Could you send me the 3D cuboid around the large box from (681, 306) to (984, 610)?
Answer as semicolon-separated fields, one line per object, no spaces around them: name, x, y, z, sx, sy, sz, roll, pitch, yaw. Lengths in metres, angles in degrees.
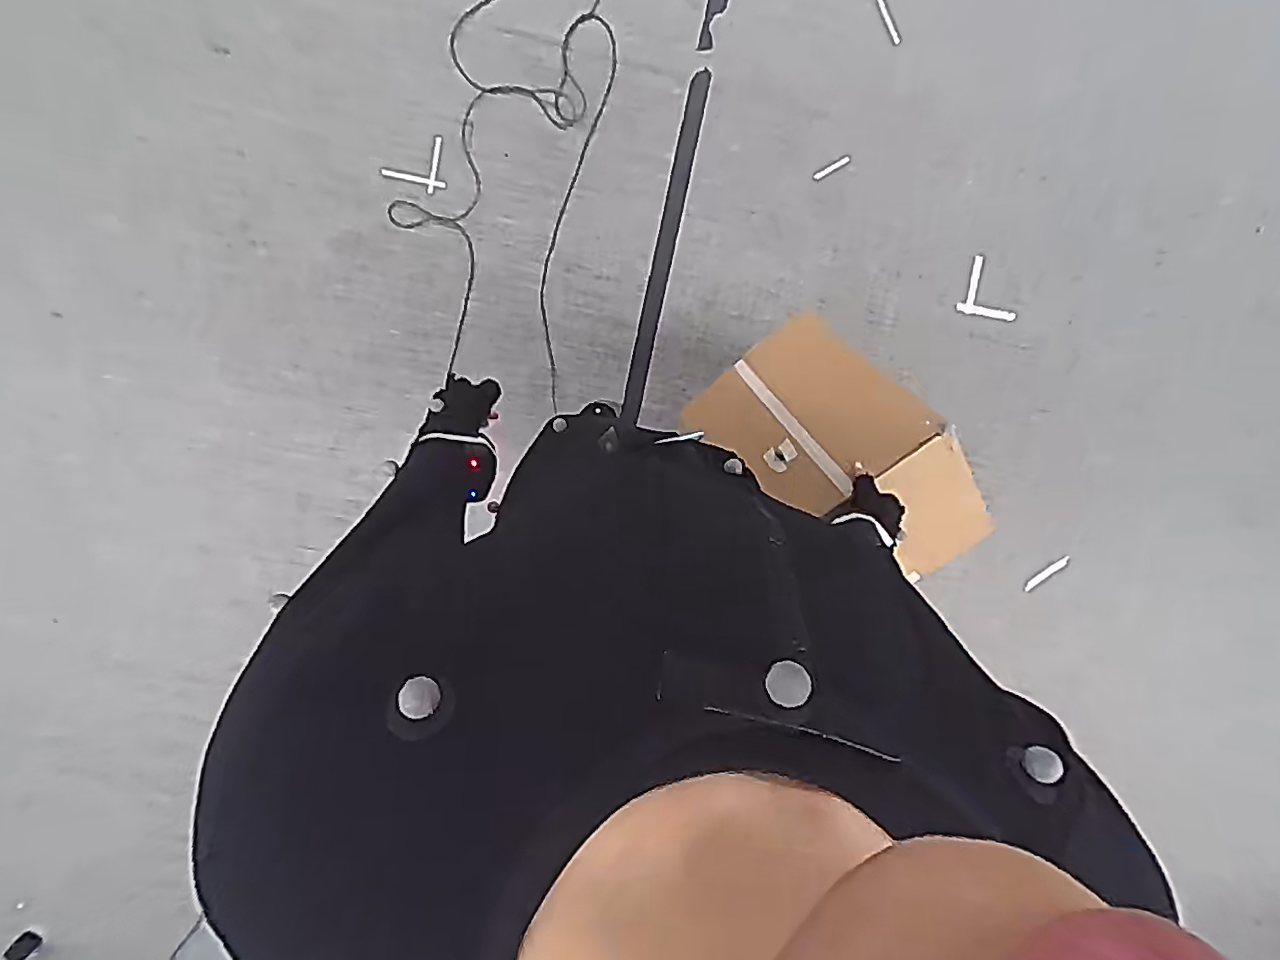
large box;0.337;-0.043;1.004;0.320;0.408;0.320;-39;132;15
